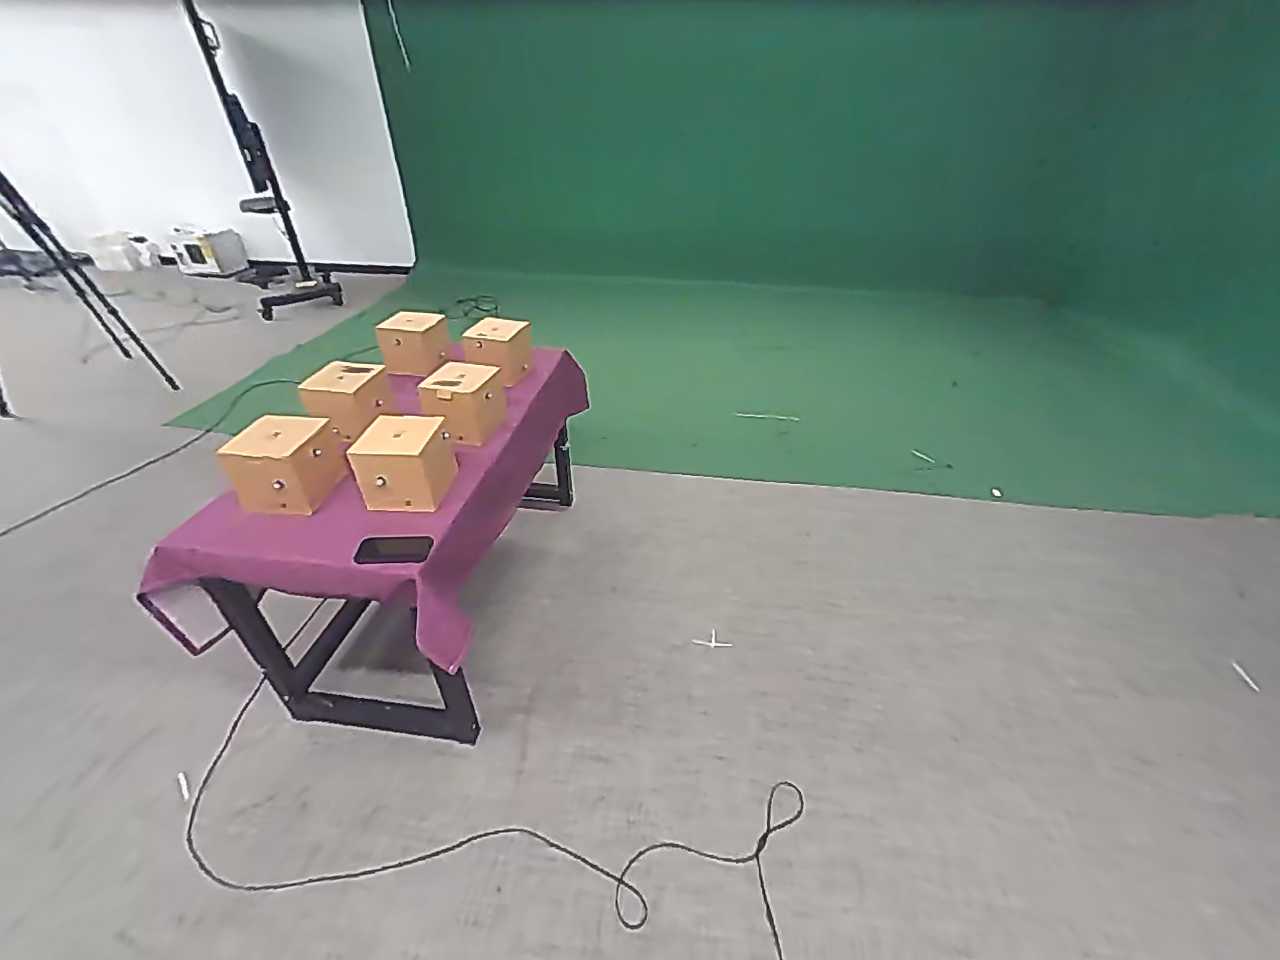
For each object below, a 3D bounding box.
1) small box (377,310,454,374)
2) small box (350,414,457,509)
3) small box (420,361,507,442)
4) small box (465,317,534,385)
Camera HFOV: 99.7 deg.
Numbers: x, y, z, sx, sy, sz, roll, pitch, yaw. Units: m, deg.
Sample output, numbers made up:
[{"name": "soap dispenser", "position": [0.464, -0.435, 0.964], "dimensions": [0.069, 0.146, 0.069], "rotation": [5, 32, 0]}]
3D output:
[{"name": "small box", "position": [-0.782, -0.484, 1.902], "dimensions": [0.179, 0.176, 0.168], "rotation": [8, 37, 9]}, {"name": "small box", "position": [-0.557, -0.044, 1.306], "dimensions": [0.168, 0.176, 0.179], "rotation": [2, 35, 2]}, {"name": "small box", "position": [-0.496, -0.225, 1.555], "dimensions": [0.168, 0.176, 0.179], "rotation": [9, 36, 11]}, {"name": "small box", "position": [-0.475, -0.444, 1.854], "dimensions": [0.168, 0.176, 0.179], "rotation": [9, 37, 12]}]
